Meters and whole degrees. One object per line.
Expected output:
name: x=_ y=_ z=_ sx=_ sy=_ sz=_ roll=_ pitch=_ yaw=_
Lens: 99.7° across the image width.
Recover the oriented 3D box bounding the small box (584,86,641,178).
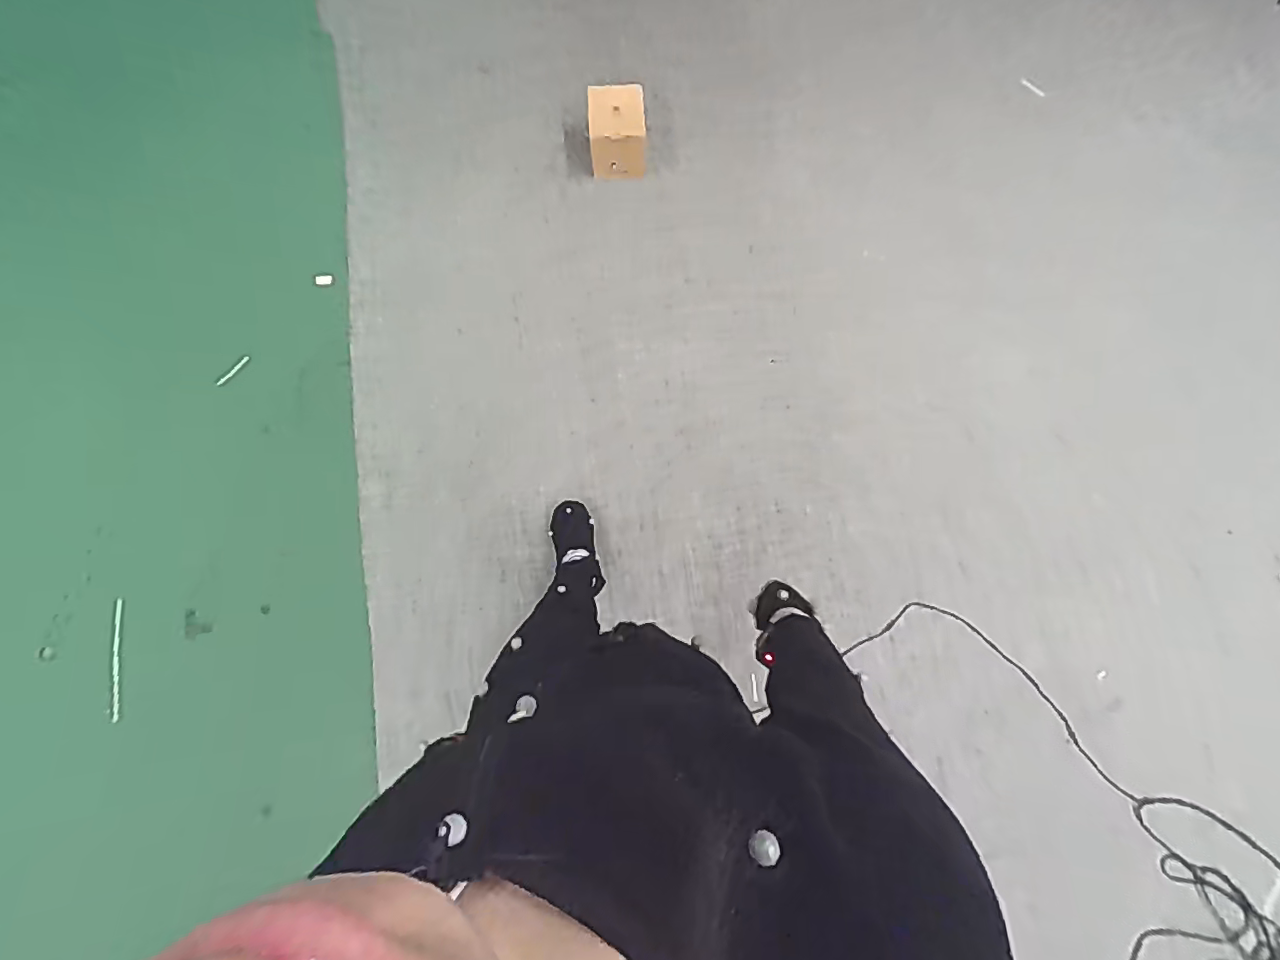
small box: x=-0.086 y=-1.065 z=1.661 sx=0.168 sy=0.176 sz=0.179 roll=-3 pitch=80 yaw=-2
